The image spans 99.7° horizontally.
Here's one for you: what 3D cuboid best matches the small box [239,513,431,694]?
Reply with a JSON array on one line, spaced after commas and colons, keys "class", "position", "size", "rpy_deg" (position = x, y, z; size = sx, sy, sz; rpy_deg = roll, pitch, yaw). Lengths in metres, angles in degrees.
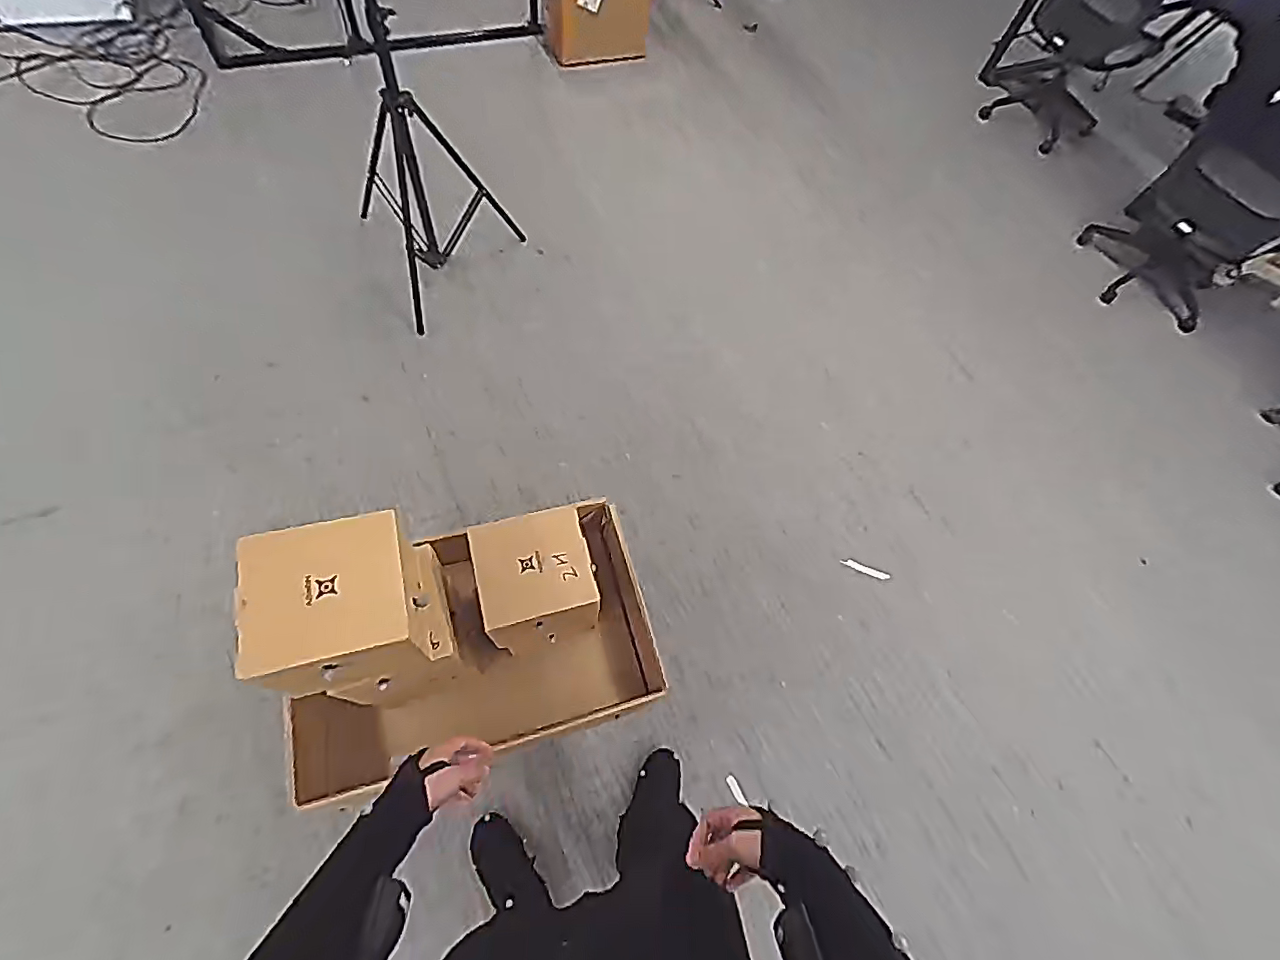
[{"class": "small box", "position": [-0.373, 0.161, 0.689], "size": [0.179, 0.176, 0.168], "rpy_deg": [-12, 66, -15]}]
